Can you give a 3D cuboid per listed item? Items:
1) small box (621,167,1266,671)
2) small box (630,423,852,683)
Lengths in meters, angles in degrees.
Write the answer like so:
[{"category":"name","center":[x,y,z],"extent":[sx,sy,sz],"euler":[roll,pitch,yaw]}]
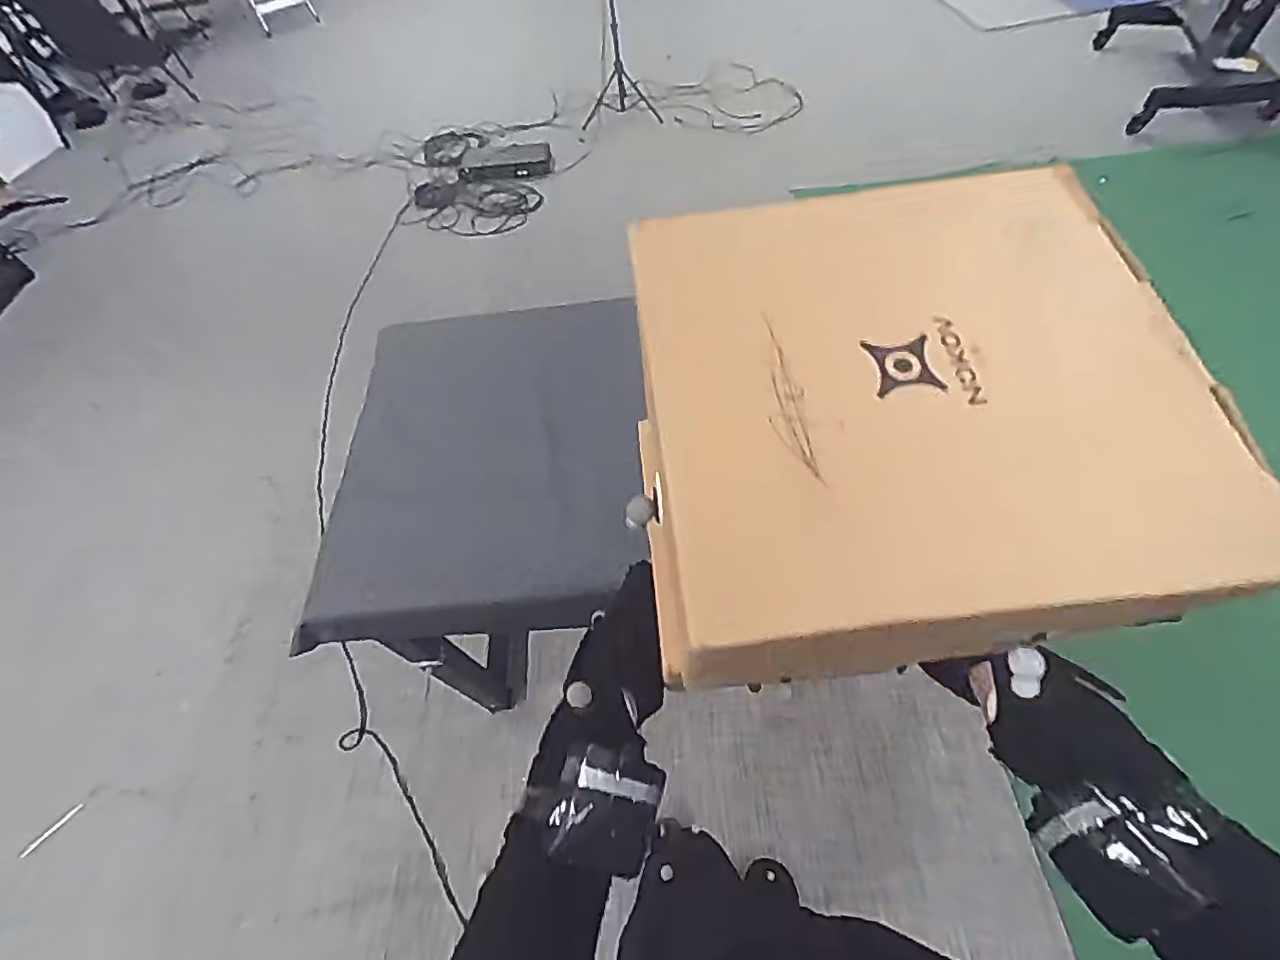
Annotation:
[{"category":"small box","center":[0.091,-0.009,0.260],"extent":[0.179,0.176,0.168],"euler":[-8,65,2]},{"category":"small box","center":[0.093,0.055,0.412],"extent":[0.179,0.176,0.168],"euler":[-9,66,1]}]
